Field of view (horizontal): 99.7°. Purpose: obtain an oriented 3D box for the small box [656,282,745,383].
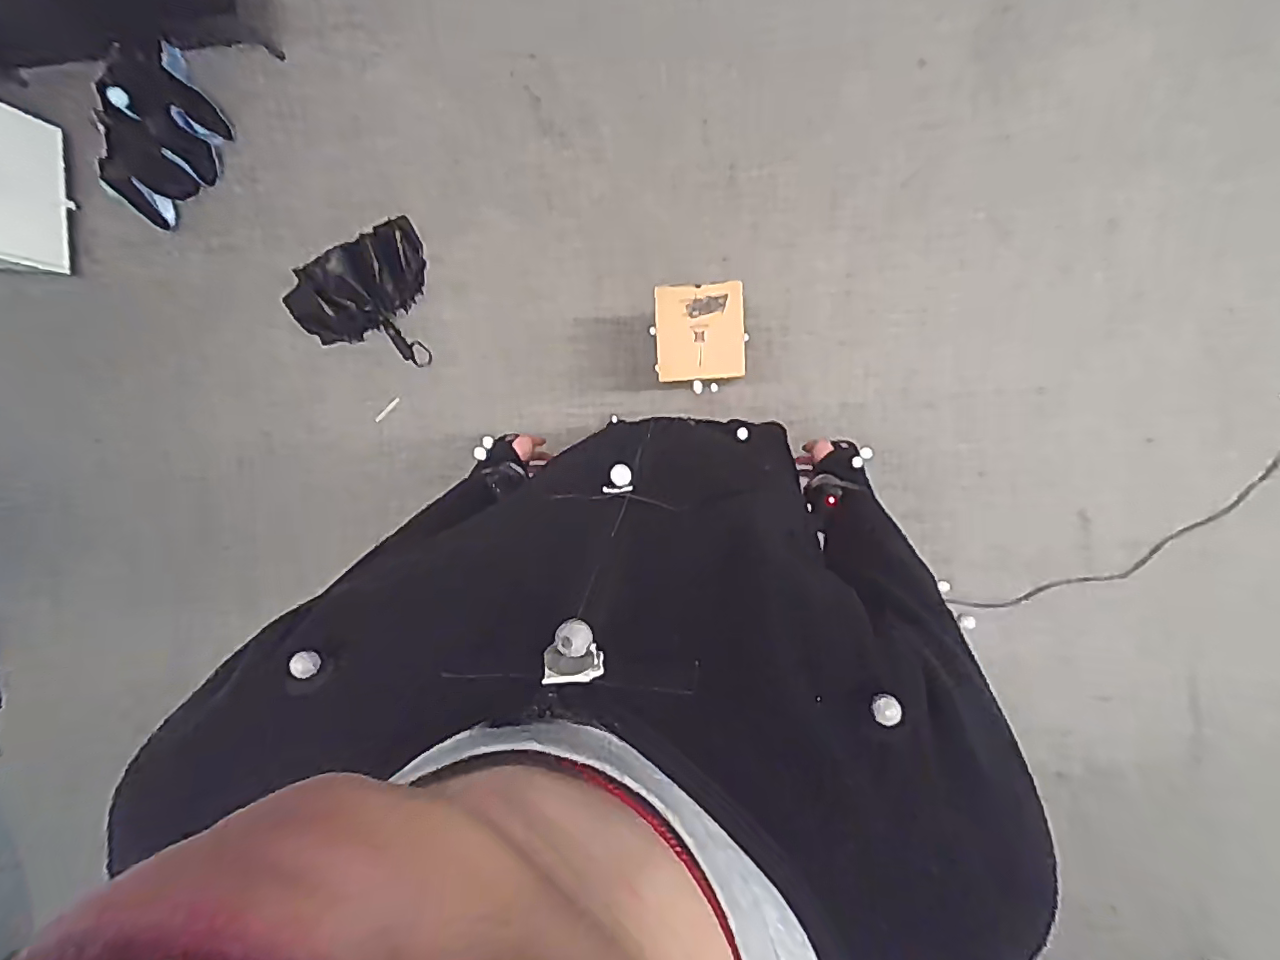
[{"bbox_3d":[0.119,-0.286,1.084,0.168,0.176,0.179,-2,100,6],"label":"small box"}]
